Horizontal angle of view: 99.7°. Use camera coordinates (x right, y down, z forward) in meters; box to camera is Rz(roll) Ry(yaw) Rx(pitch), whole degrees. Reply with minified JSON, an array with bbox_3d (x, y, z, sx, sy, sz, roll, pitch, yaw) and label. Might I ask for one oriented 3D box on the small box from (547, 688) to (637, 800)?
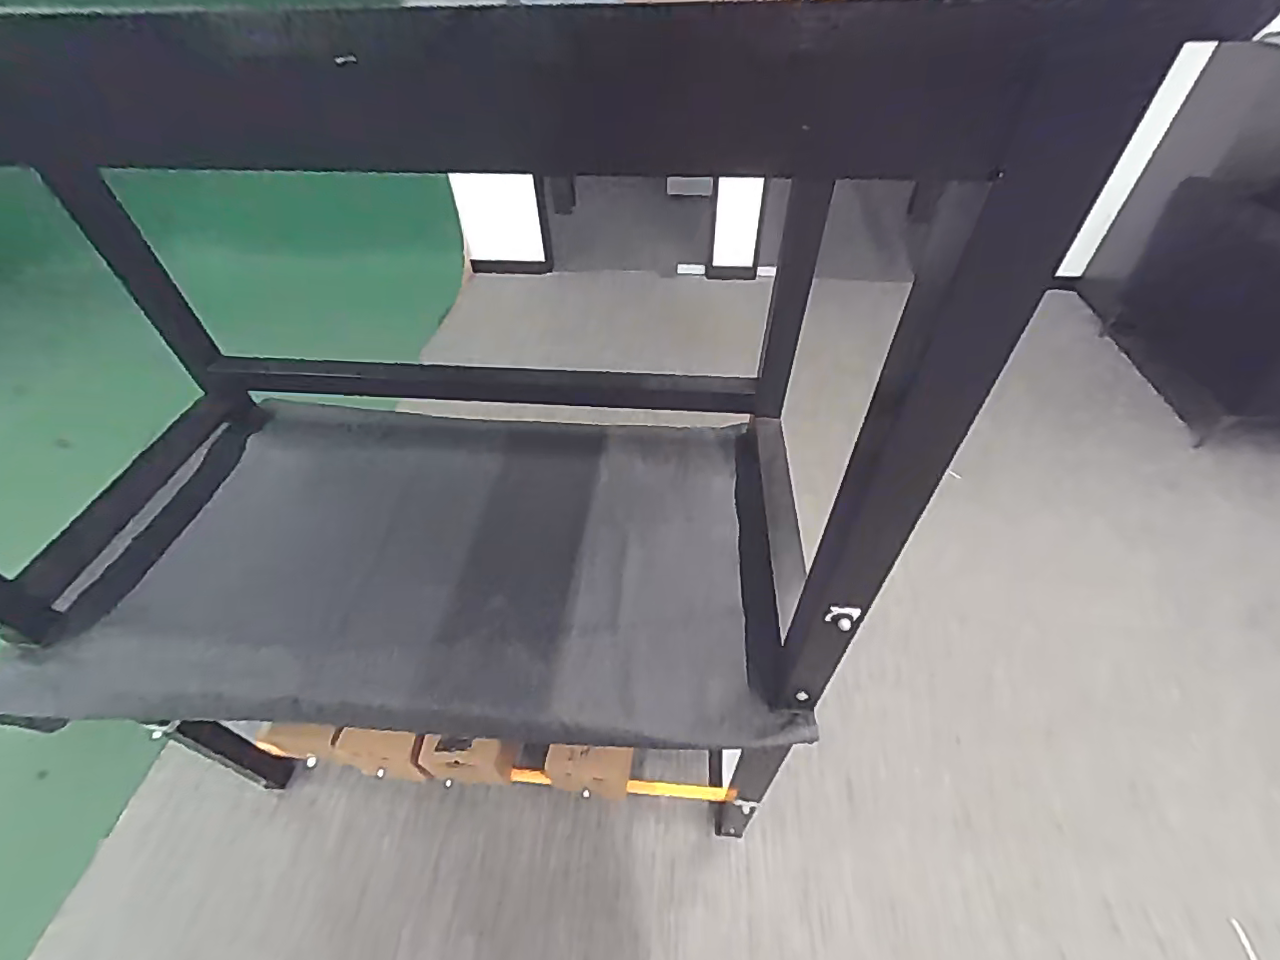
[{"bbox_3d":[-0.101,0.604,1.236,0.168,0.176,0.179,6,49,8],"label":"small box"}]
